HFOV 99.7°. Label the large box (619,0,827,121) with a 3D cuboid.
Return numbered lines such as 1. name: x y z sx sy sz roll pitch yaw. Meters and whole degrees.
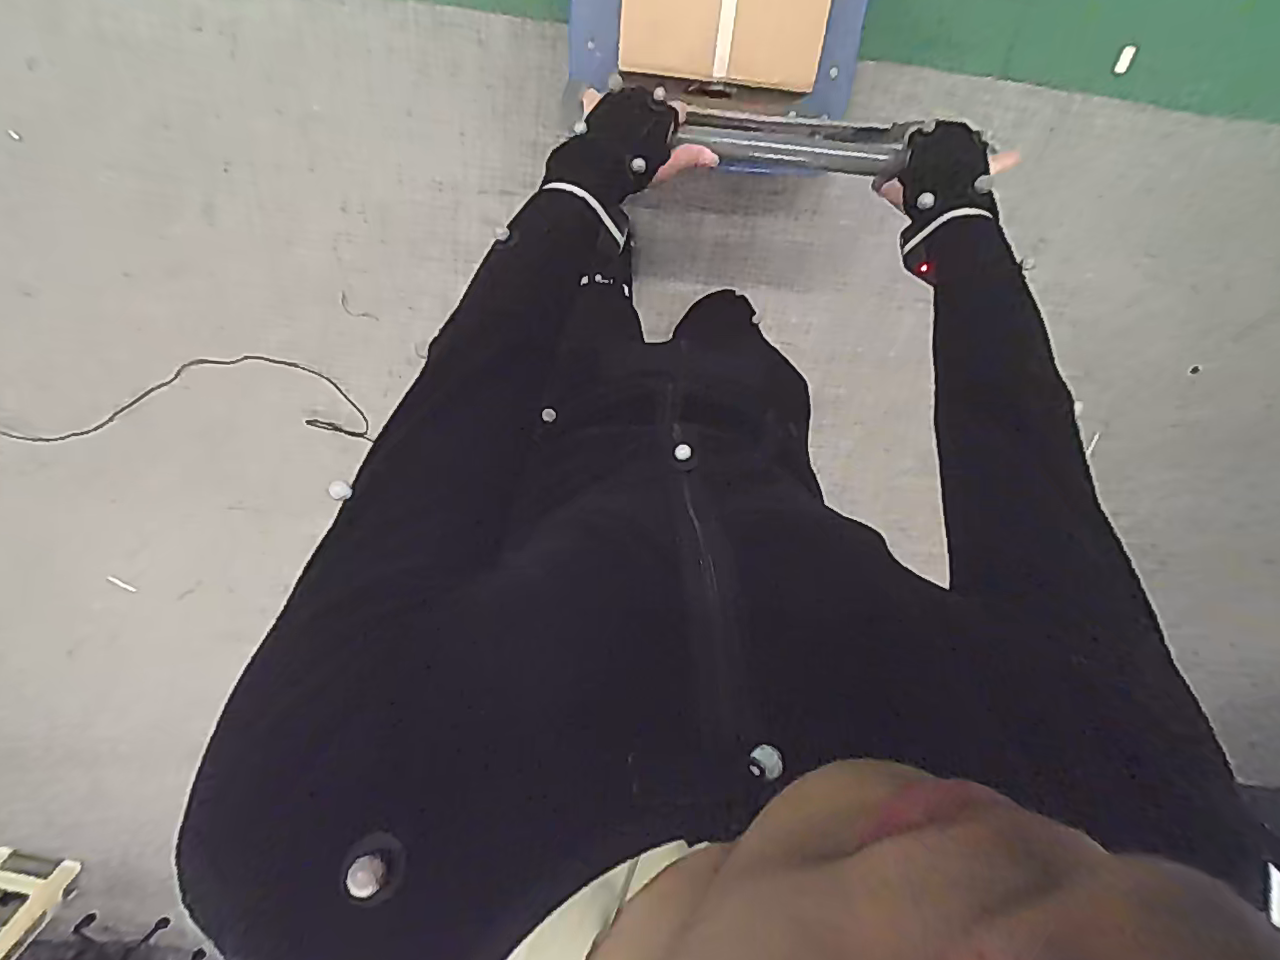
1. large box: 0.131 -0.868 0.904 0.320 0.320 0.408 4 116 -5
